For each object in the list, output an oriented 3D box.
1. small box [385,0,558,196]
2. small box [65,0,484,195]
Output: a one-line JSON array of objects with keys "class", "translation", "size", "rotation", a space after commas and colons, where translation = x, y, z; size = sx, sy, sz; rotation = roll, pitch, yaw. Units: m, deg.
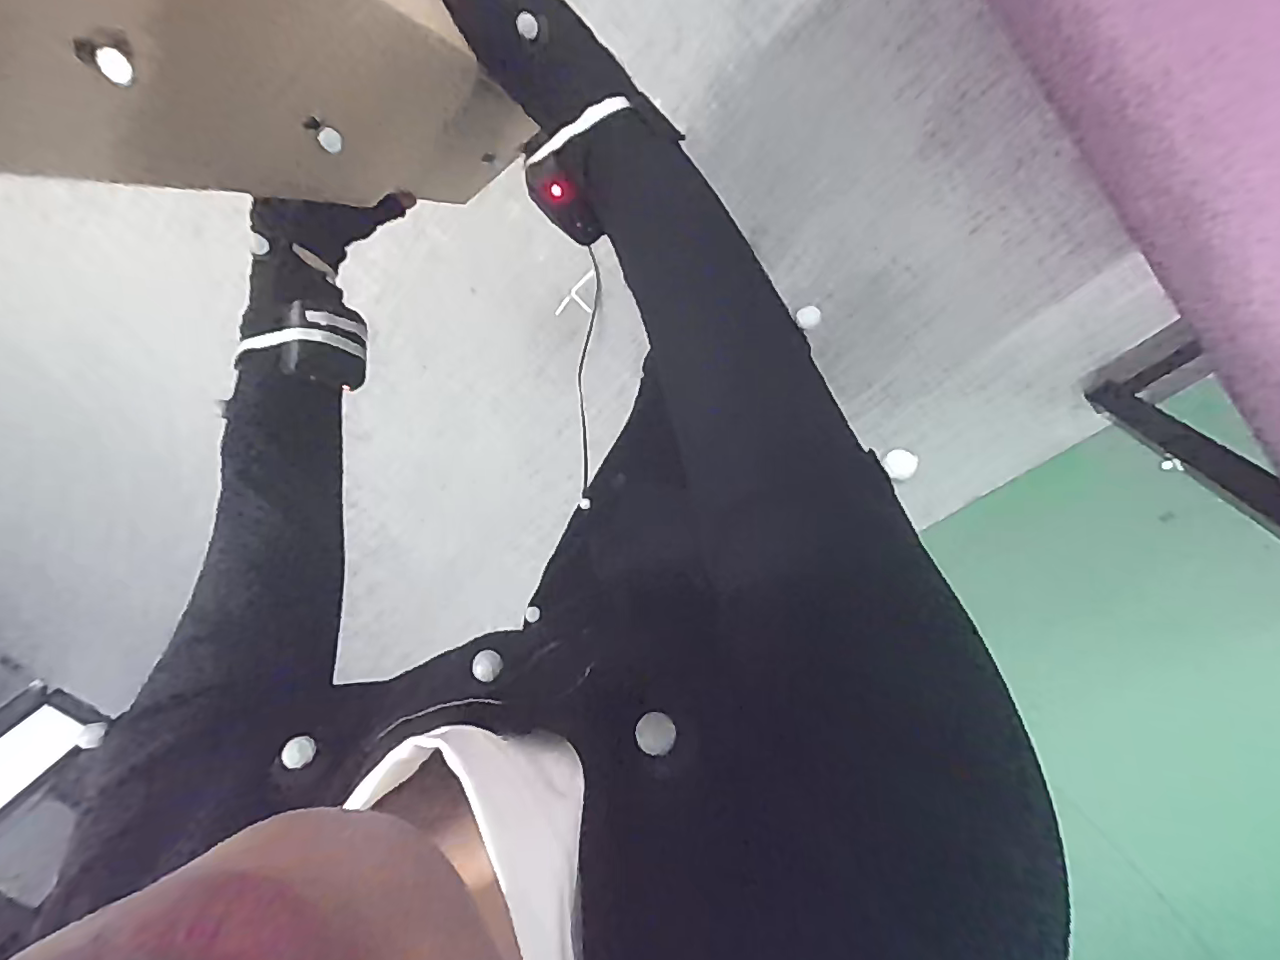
[{"class": "small box", "translation": [-0.207, -0.396, 0.508], "size": [0.168, 0.176, 0.179], "rotation": [-25, 106, 22]}, {"class": "small box", "translation": [-0.232, -0.320, 0.364], "size": [0.179, 0.176, 0.168], "rotation": [-24, 106, 22]}]
